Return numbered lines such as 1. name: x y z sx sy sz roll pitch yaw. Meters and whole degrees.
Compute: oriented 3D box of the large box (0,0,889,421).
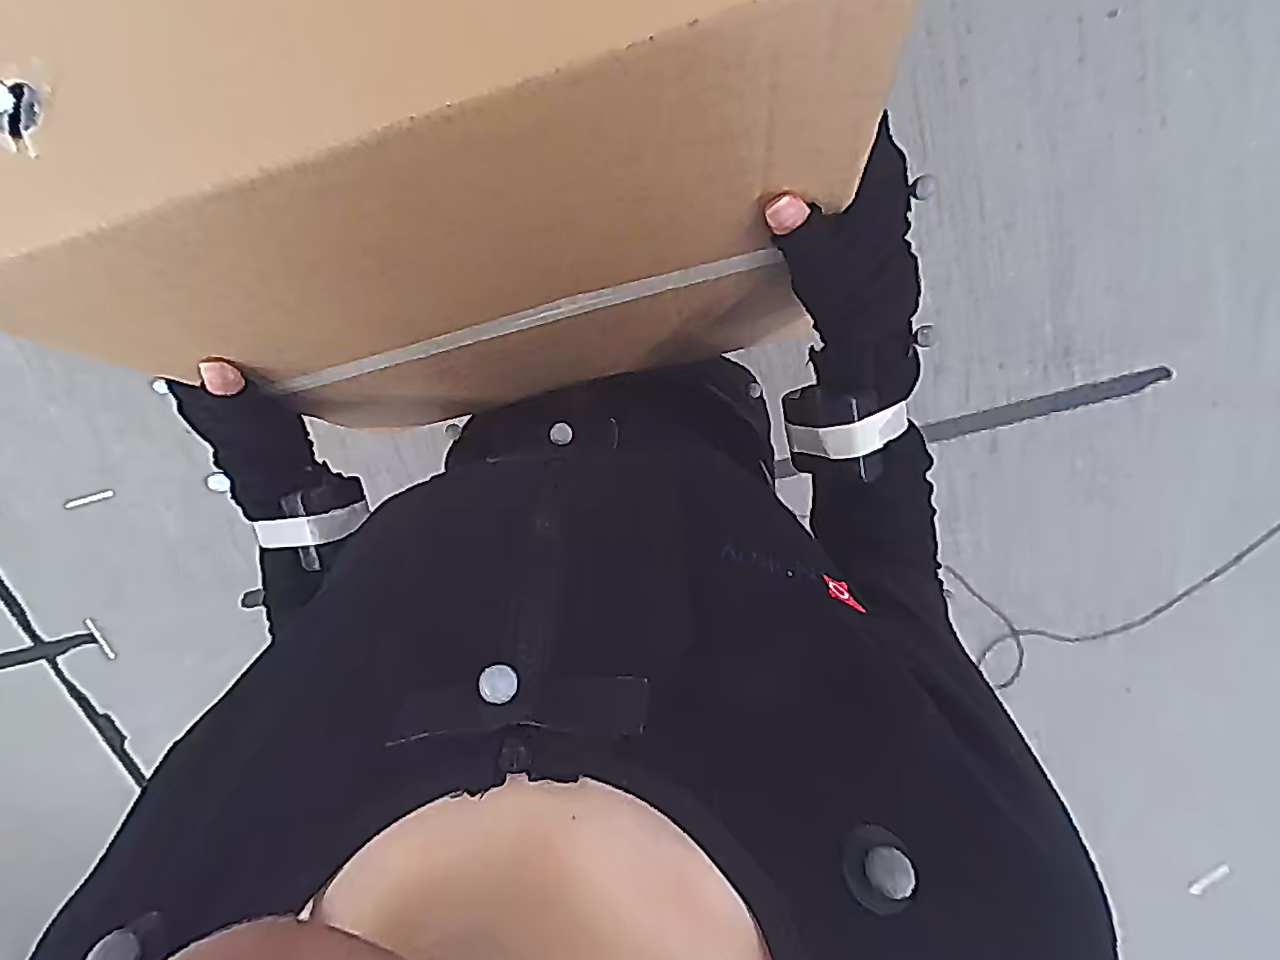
1. large box: -0.109 -0.260 0.364 0.408 0.320 0.320 -12 83 9
